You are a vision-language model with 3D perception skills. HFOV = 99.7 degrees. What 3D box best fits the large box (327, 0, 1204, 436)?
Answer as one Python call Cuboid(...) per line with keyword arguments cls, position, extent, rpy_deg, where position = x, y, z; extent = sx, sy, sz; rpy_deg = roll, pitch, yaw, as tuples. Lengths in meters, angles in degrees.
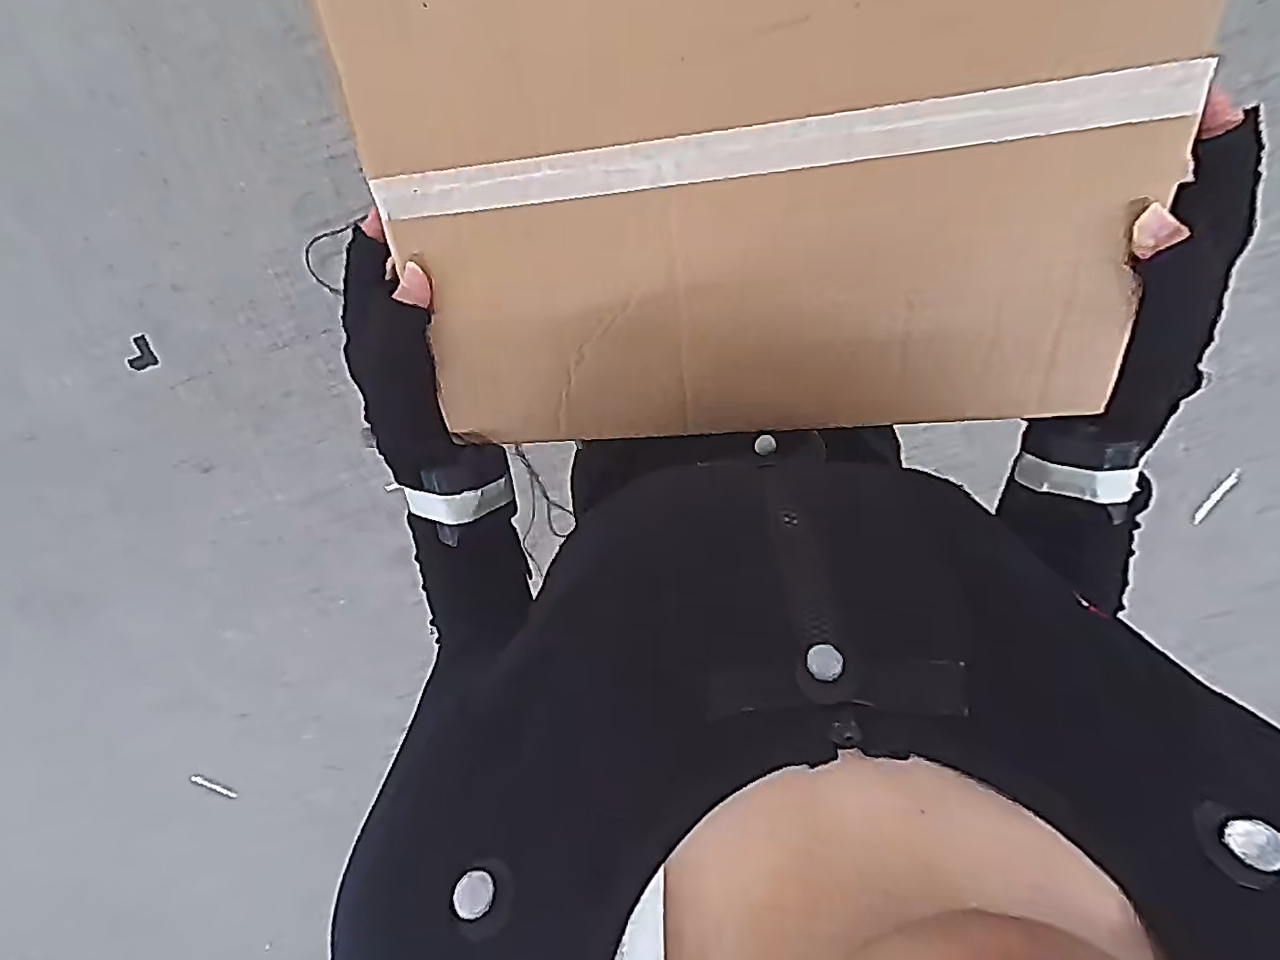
Cuboid(cls="large box", position=(0.069, -0.248, 0.407), extent=(0.408, 0.320, 0.320), rpy_deg=(-2, 119, 9))
